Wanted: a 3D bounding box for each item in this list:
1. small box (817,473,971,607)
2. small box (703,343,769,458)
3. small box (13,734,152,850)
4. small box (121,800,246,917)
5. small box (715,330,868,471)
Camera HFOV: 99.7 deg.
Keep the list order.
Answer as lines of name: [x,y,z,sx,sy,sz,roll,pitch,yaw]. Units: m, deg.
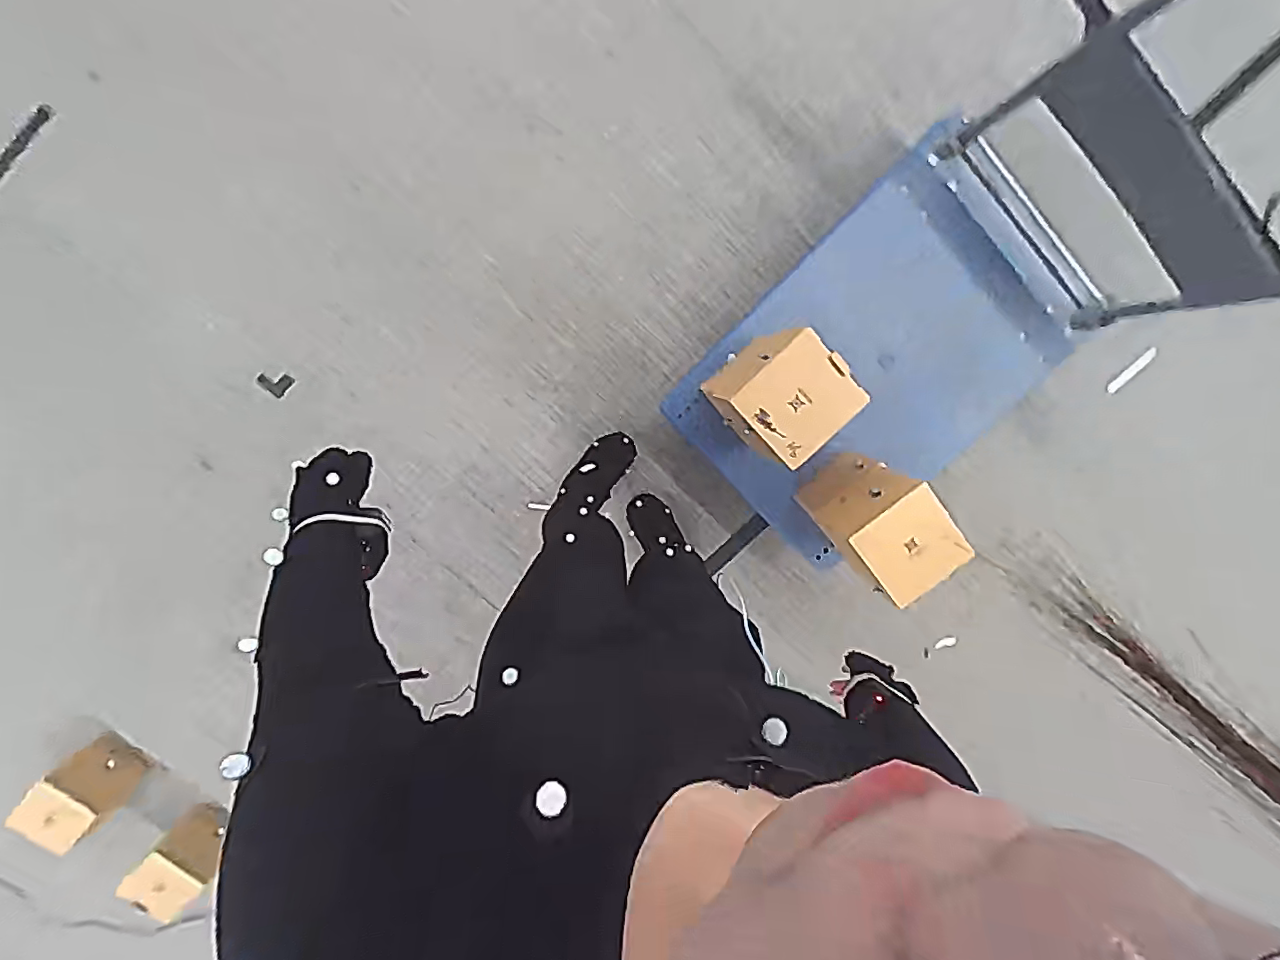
small box: [0.470,0.102,1.030,0.168,0.176,0.179,-39,102,5]
small box: [0.253,-0.174,1.128,0.168,0.176,0.179,-40,100,6]
small box: [-1.507,0.845,1.476,0.168,0.176,0.179,42,97,-10]
small box: [-1.279,1.064,1.531,0.179,0.176,0.168,-43,101,6]
small box: [0.258,-0.144,0.966,0.179,0.176,0.168,-43,100,5]
